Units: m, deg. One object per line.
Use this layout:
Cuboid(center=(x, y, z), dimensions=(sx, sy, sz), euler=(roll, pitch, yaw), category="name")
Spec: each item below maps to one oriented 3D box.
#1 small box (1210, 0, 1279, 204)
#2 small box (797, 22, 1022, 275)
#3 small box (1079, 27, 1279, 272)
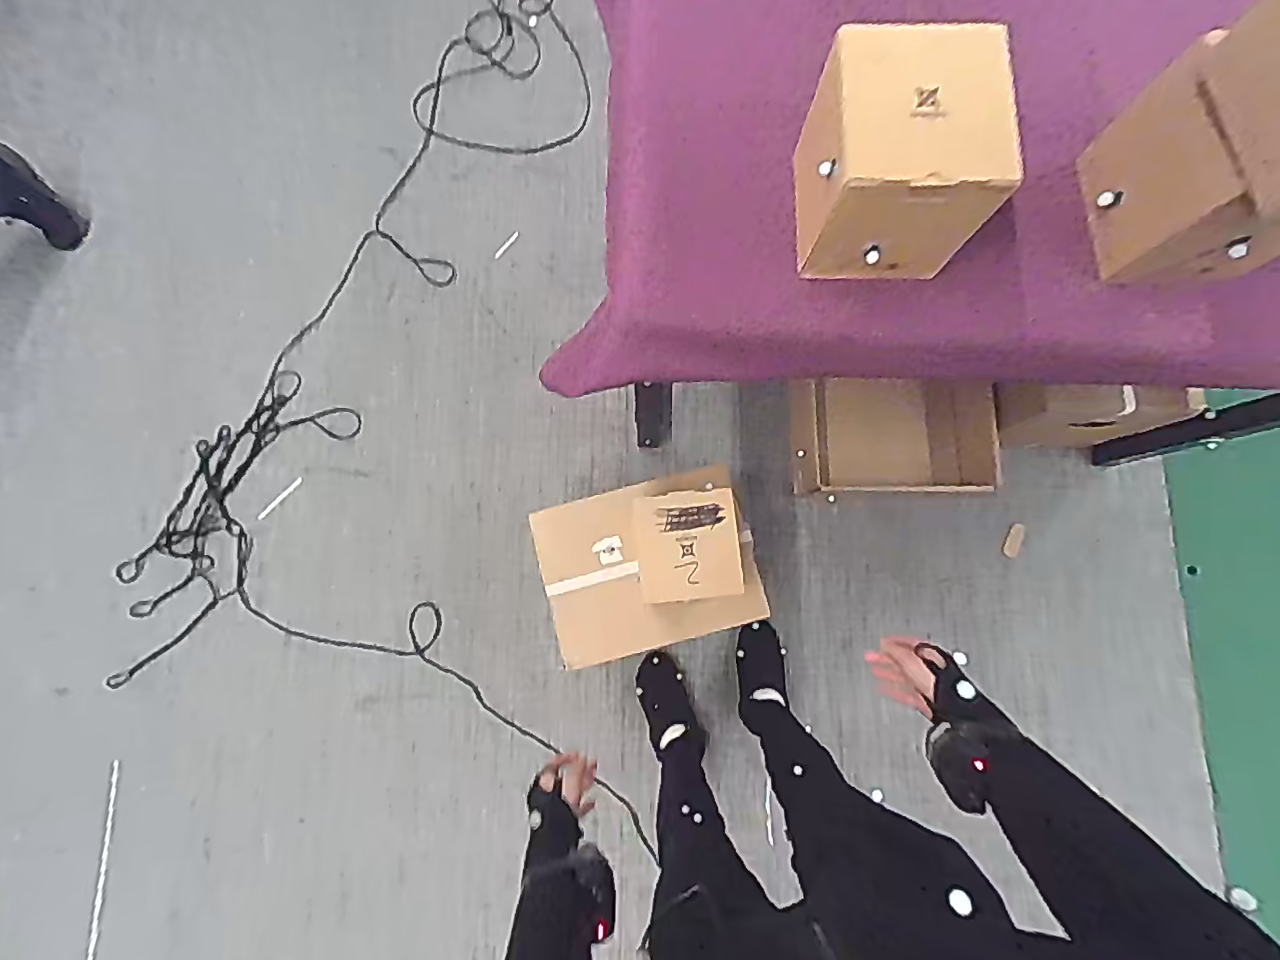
Cuboid(center=(0.623, -0.350, 0.424), dimensions=(0.168, 0.176, 0.179), euler=(-9, 80, 1), category="small box")
Cuboid(center=(0.279, -0.354, 0.601), dimensions=(0.168, 0.176, 0.179), euler=(0, 81, 1), category="small box")
Cuboid(center=(0.634, -0.344, 0.590), dimensions=(0.168, 0.176, 0.179), euler=(-2, 80, 1), category="small box")
